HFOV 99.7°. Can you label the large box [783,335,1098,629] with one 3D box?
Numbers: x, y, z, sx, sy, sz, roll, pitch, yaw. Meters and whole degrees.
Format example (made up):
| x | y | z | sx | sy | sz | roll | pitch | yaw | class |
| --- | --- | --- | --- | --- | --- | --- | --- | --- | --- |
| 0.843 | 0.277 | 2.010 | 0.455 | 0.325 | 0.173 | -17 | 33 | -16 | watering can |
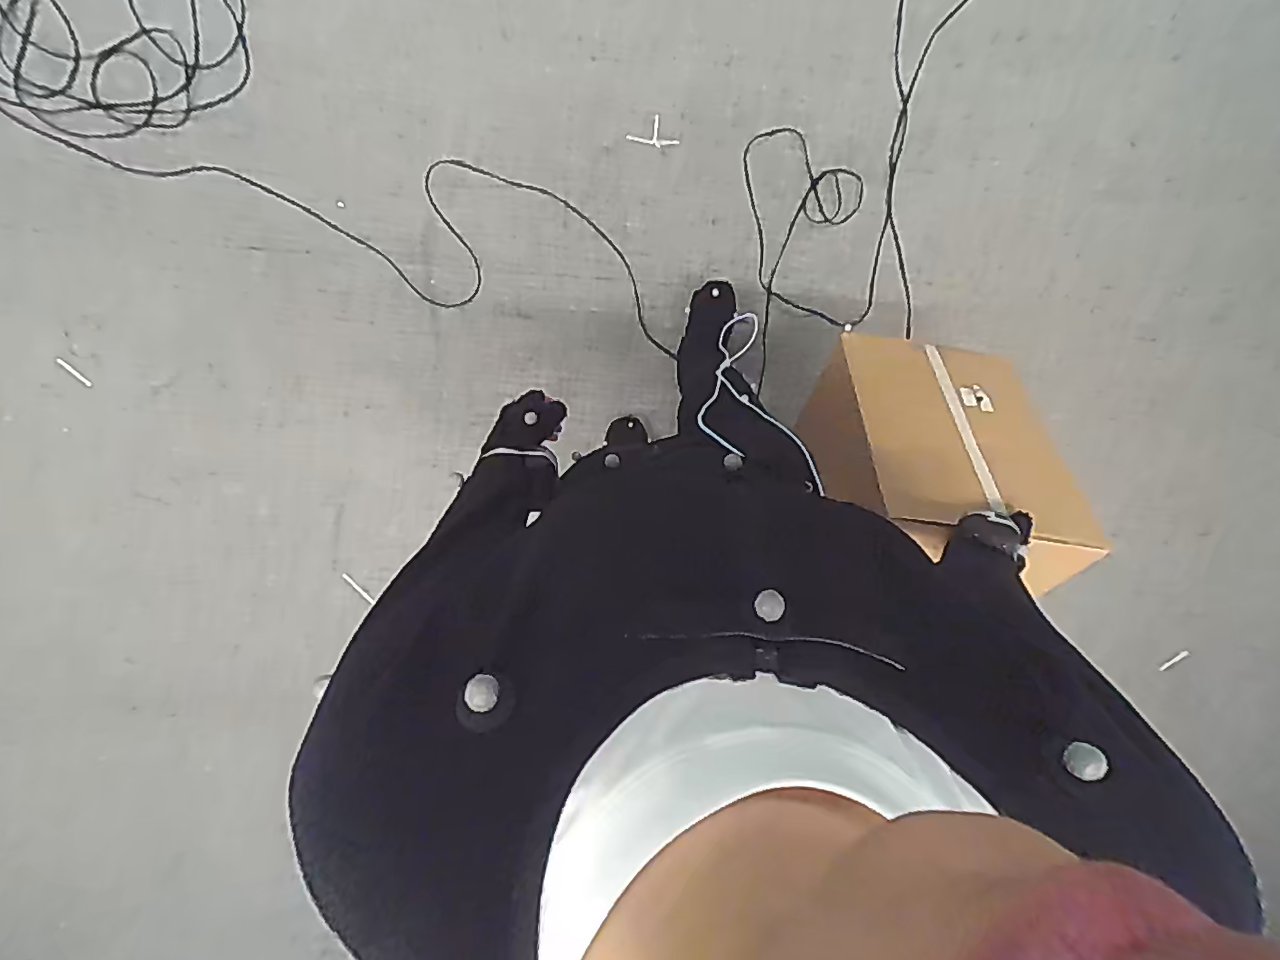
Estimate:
| x | y | z | sx | sy | sz | roll | pitch | yaw | class |
| --- | --- | --- | --- | --- | --- | --- | --- | --- | --- |
| 0.467 | 0.007 | 0.962 | 0.320 | 0.408 | 0.320 | 9 | 140 | -4 | large box |
